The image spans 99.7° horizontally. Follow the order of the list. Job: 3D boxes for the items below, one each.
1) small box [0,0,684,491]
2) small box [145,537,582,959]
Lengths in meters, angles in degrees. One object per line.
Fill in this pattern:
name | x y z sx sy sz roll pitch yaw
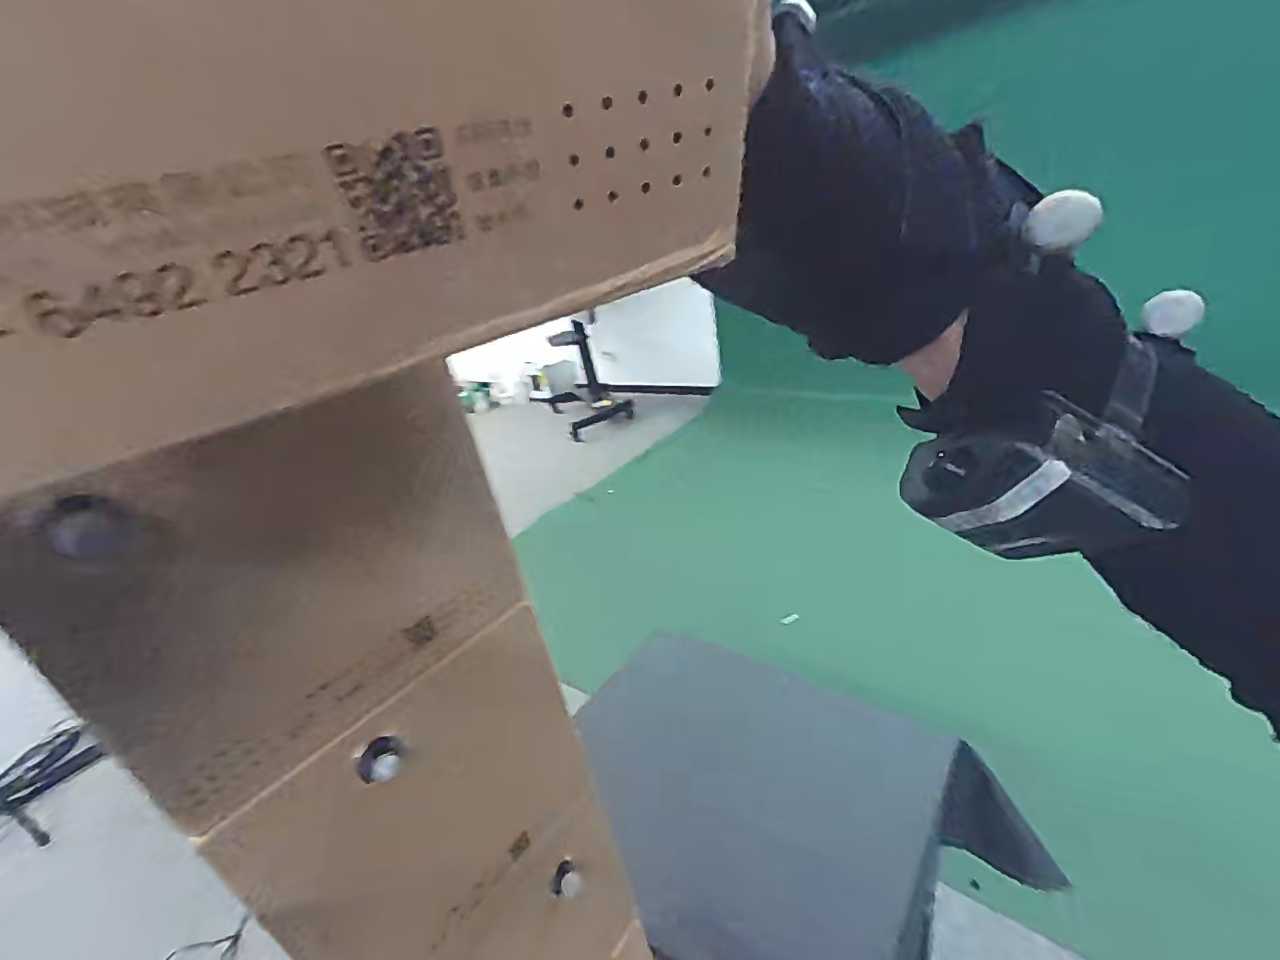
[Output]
small box | -0.101 -0.115 0.088 0.168 0.176 0.179 -24 50 -19
small box | -0.165 0.163 0.349 0.179 0.176 0.168 11 34 41
